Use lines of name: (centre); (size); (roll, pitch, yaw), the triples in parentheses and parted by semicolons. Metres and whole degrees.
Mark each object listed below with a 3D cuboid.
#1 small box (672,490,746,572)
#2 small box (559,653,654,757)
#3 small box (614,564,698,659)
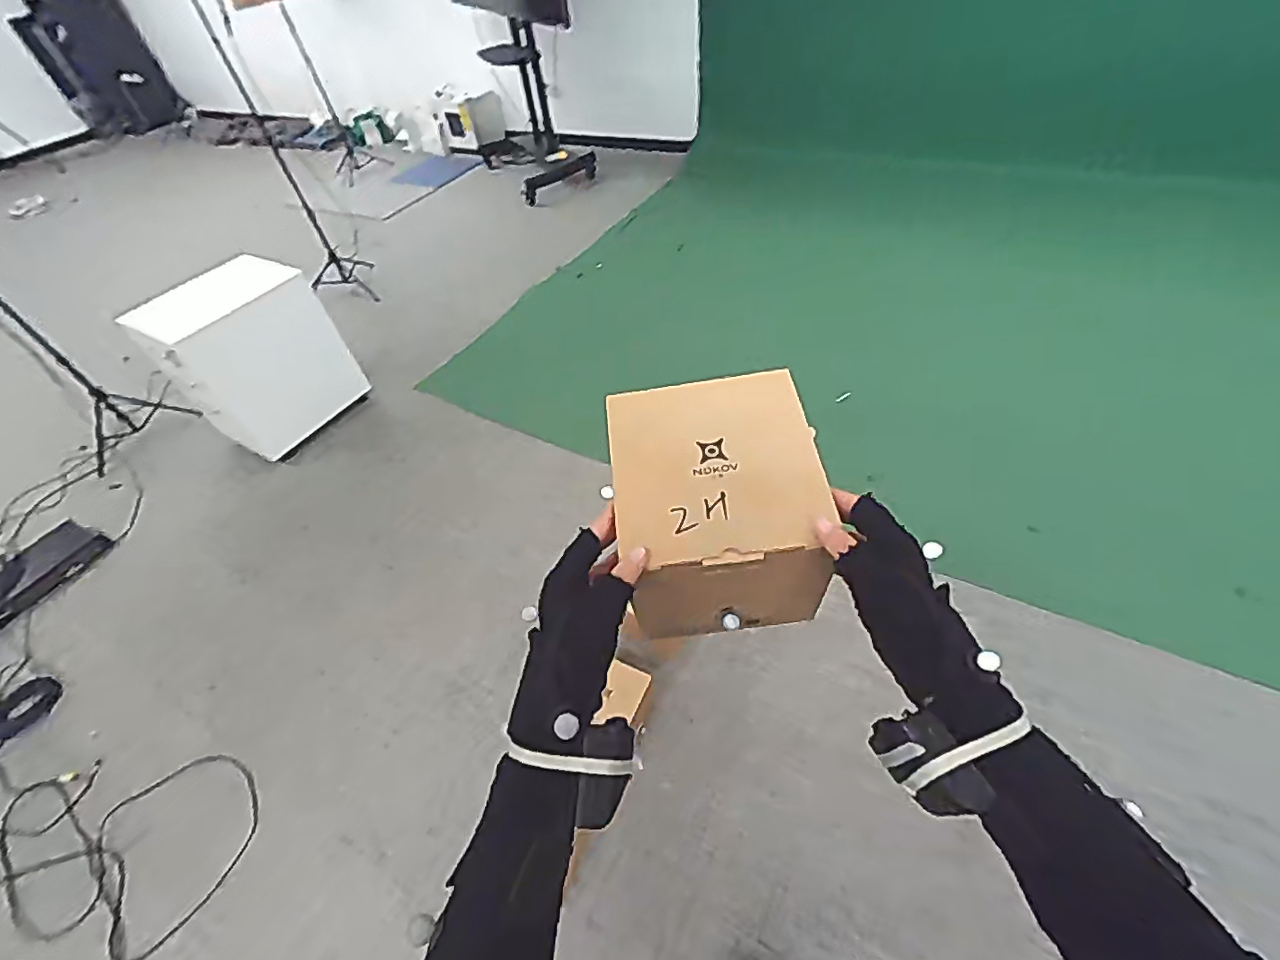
small box: (0.219, 0.166, 1.703); (0.179, 0.176, 0.168); (20, 53, 24)
small box: (-0.077, 0.573, 1.370); (0.179, 0.176, 0.168); (18, 54, 19)
small box: (0.049, 0.376, 1.534); (0.179, 0.176, 0.168); (25, 55, 25)
